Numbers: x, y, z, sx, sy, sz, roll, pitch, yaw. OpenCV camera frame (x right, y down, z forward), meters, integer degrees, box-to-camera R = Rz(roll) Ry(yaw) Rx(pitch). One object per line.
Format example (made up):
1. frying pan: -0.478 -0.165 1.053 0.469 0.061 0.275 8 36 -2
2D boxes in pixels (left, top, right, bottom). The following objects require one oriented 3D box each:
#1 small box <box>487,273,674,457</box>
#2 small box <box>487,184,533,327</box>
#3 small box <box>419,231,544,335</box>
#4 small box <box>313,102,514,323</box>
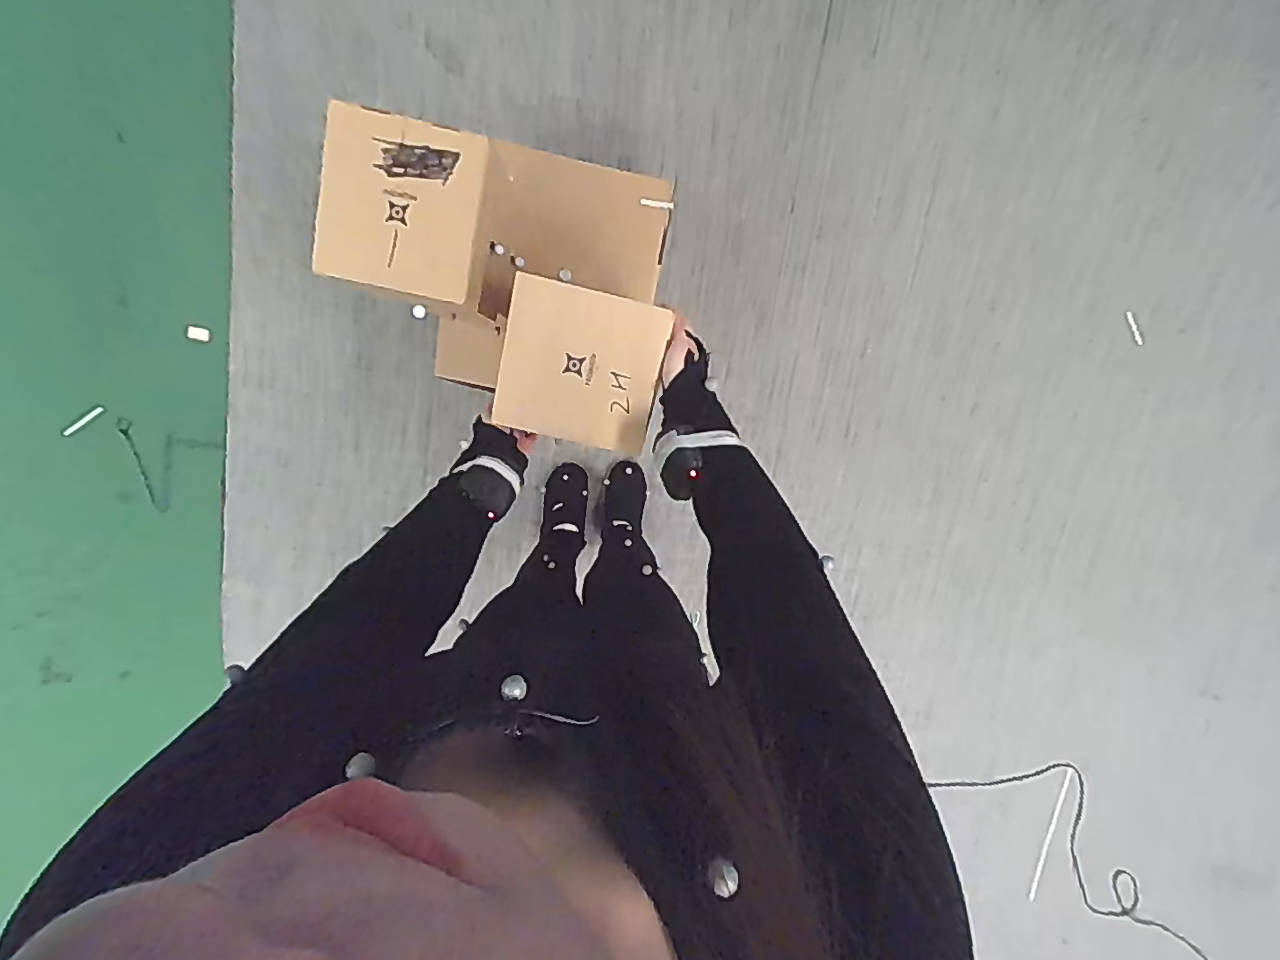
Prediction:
1. small box: -0.069 -0.140 0.663 0.179 0.176 0.168 13 104 -6
2. small box: -0.262 -0.340 0.811 0.168 0.176 0.179 11 100 -5
3. small box: -0.275 -0.362 0.972 0.168 0.176 0.179 12 97 -5
4. small box: -0.256 -0.302 0.651 0.168 0.176 0.179 12 99 -5
